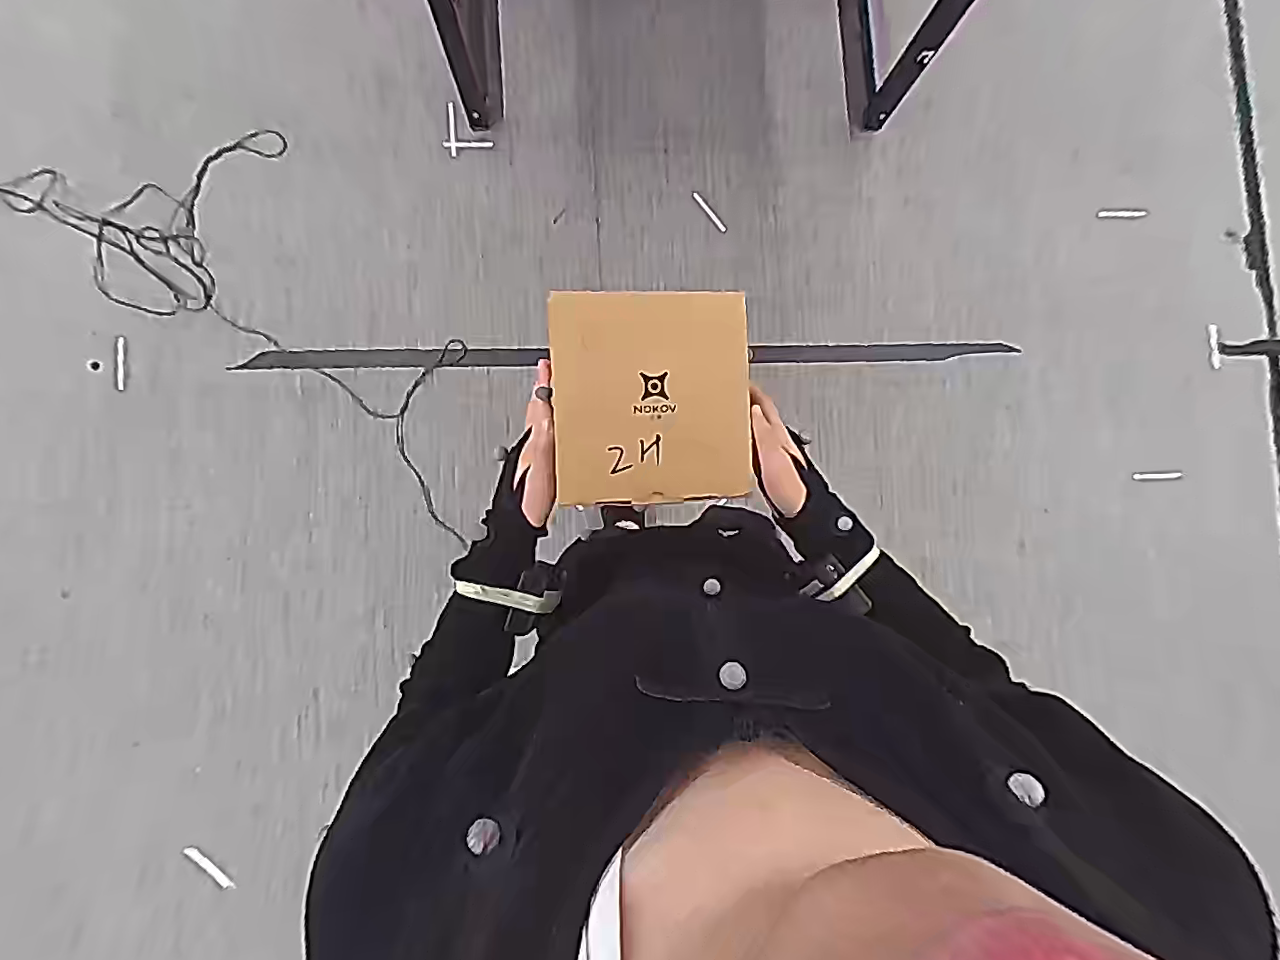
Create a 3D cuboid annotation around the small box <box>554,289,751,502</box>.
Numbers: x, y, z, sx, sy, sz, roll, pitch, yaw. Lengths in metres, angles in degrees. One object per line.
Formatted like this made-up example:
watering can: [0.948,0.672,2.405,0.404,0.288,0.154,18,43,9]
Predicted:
small box: [0.000,-0.069,0.528,0.168,0.176,0.179,-2,89,-7]
